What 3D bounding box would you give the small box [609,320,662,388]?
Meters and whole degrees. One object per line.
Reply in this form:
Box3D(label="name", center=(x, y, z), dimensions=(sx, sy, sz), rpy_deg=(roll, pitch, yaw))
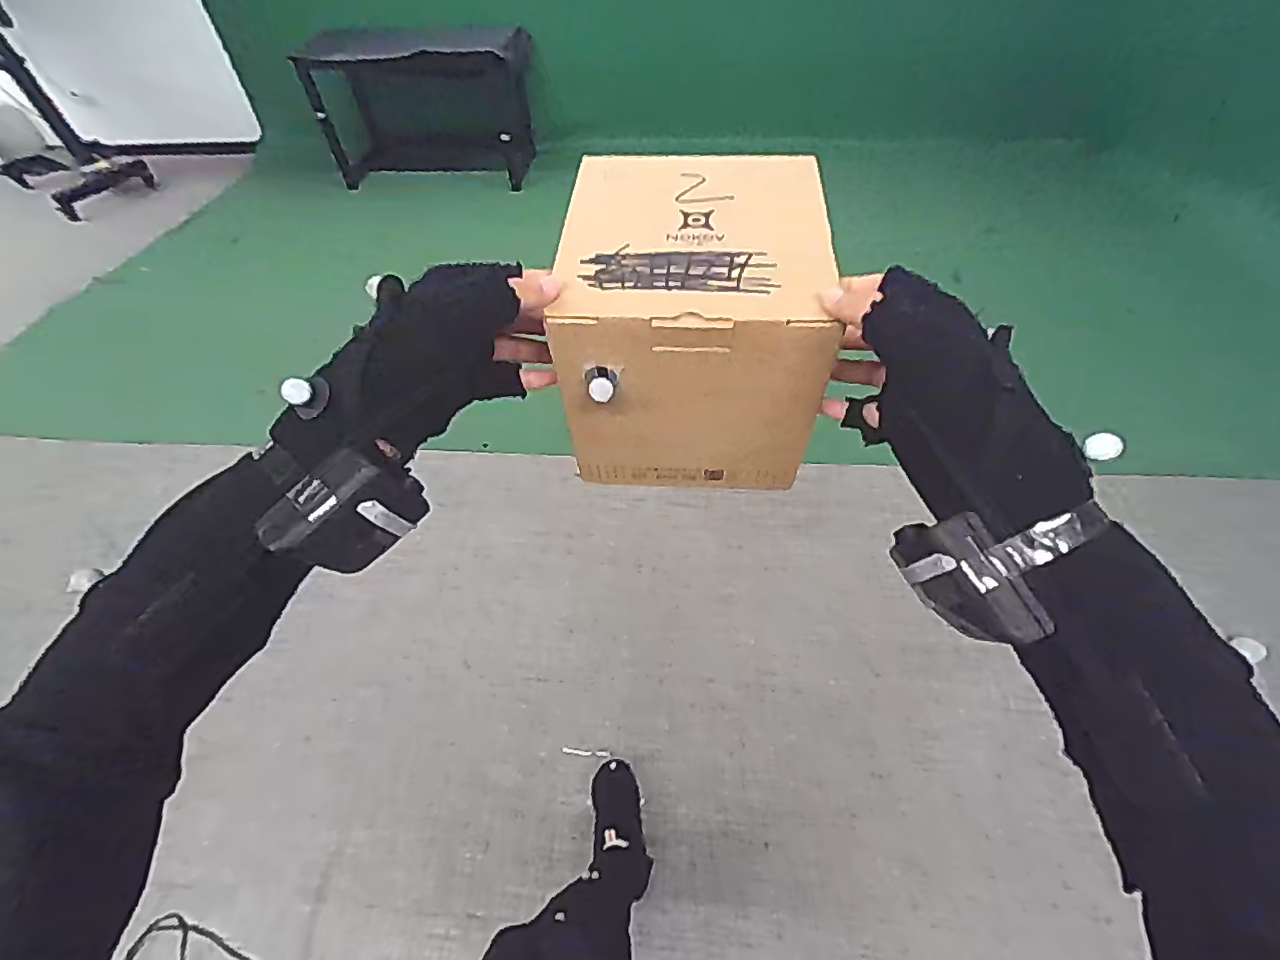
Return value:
Box3D(label="small box", center=(-0.013, -0.454, 1.956), dimensions=(0.168, 0.176, 0.179), rpy_deg=(6, 50, 8))
